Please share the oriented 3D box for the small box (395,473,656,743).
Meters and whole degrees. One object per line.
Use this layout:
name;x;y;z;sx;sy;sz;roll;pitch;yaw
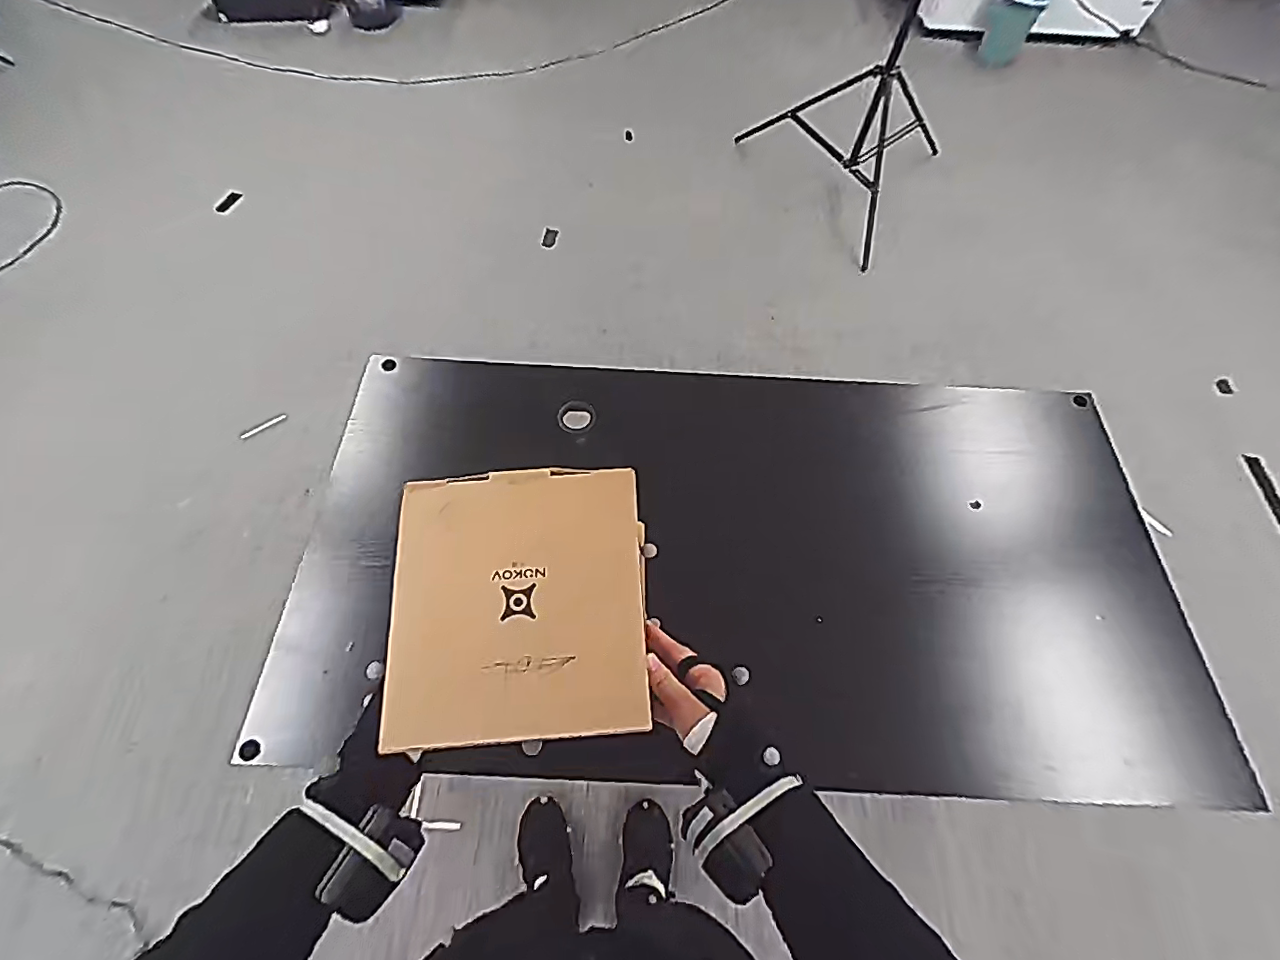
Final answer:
small box;-0.078;0.108;0.443;0.168;0.176;0.179;-4;69;-2
